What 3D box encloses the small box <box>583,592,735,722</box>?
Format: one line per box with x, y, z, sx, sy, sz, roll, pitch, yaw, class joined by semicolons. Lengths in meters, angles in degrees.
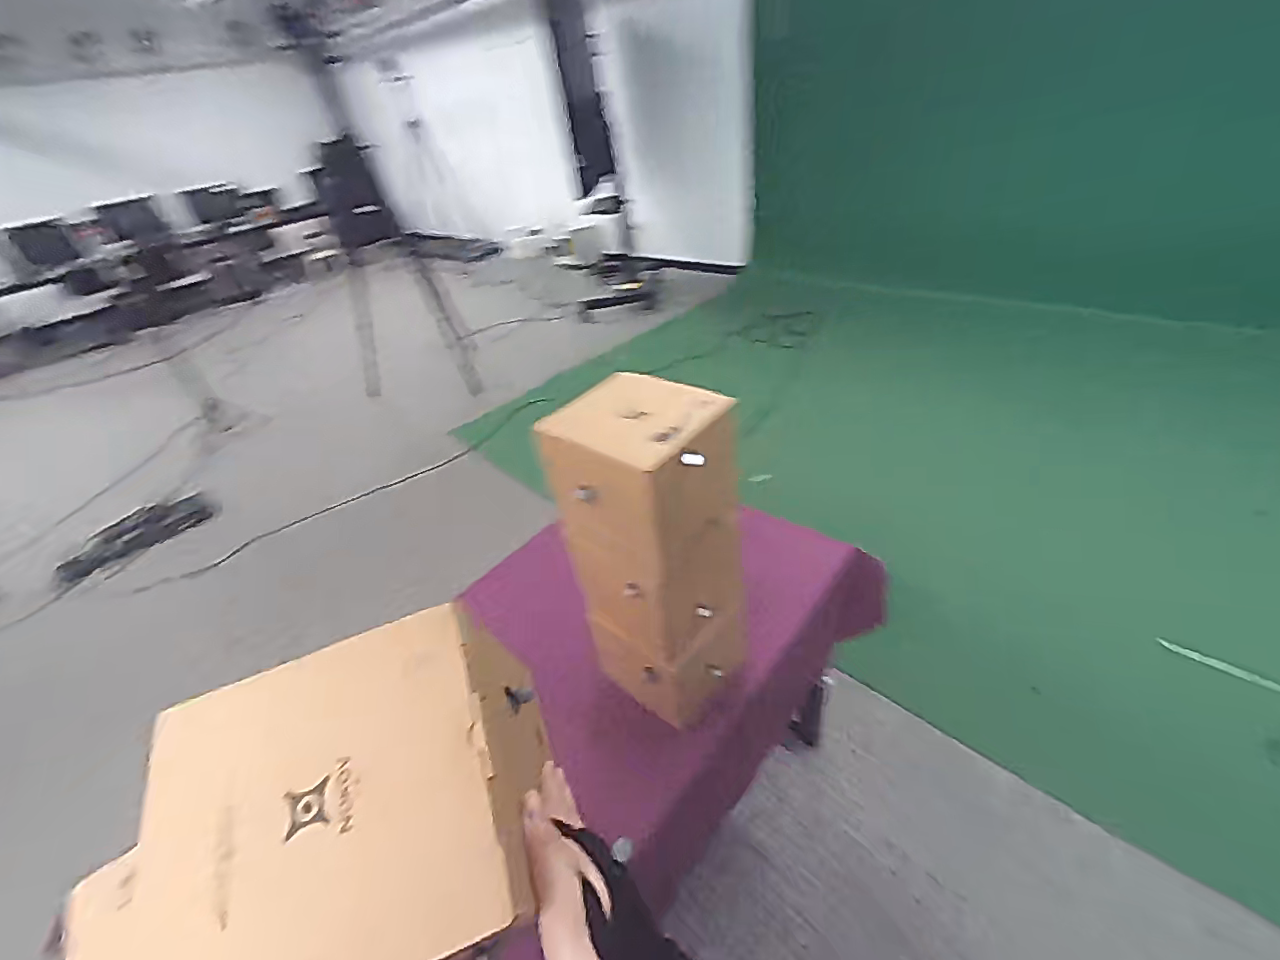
0.039;0.252;0.866;0.179;0.176;0.168;23;47;36;small box

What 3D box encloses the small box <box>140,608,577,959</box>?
-0.146;0.209;0.336;0.179;0.176;0.168;-20;55;-7;small box

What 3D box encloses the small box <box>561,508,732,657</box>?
0.015;0.118;0.777;0.179;0.176;0.168;24;48;36;small box

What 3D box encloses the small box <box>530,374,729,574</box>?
-0.004;-0.011;0.677;0.179;0.176;0.168;20;46;34;small box
